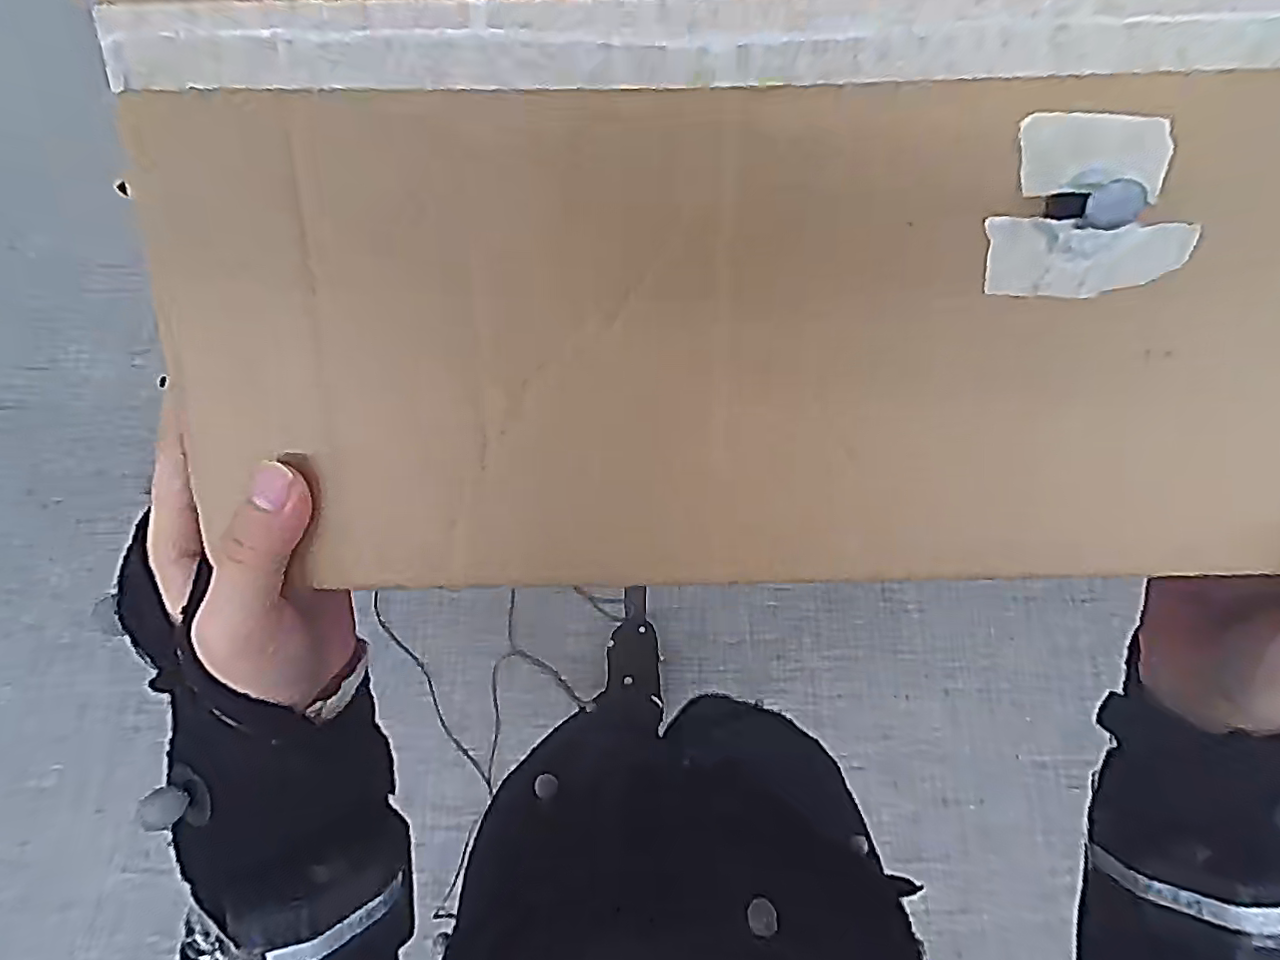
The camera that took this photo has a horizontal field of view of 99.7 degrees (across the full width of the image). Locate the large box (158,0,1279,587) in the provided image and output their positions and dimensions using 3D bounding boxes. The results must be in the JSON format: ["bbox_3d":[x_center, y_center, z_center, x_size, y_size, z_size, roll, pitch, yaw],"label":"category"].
[{"bbox_3d":[0.055,-0.148,0.308,0.408,0.320,0.320,-2,102,-1],"label":"large box"}]
